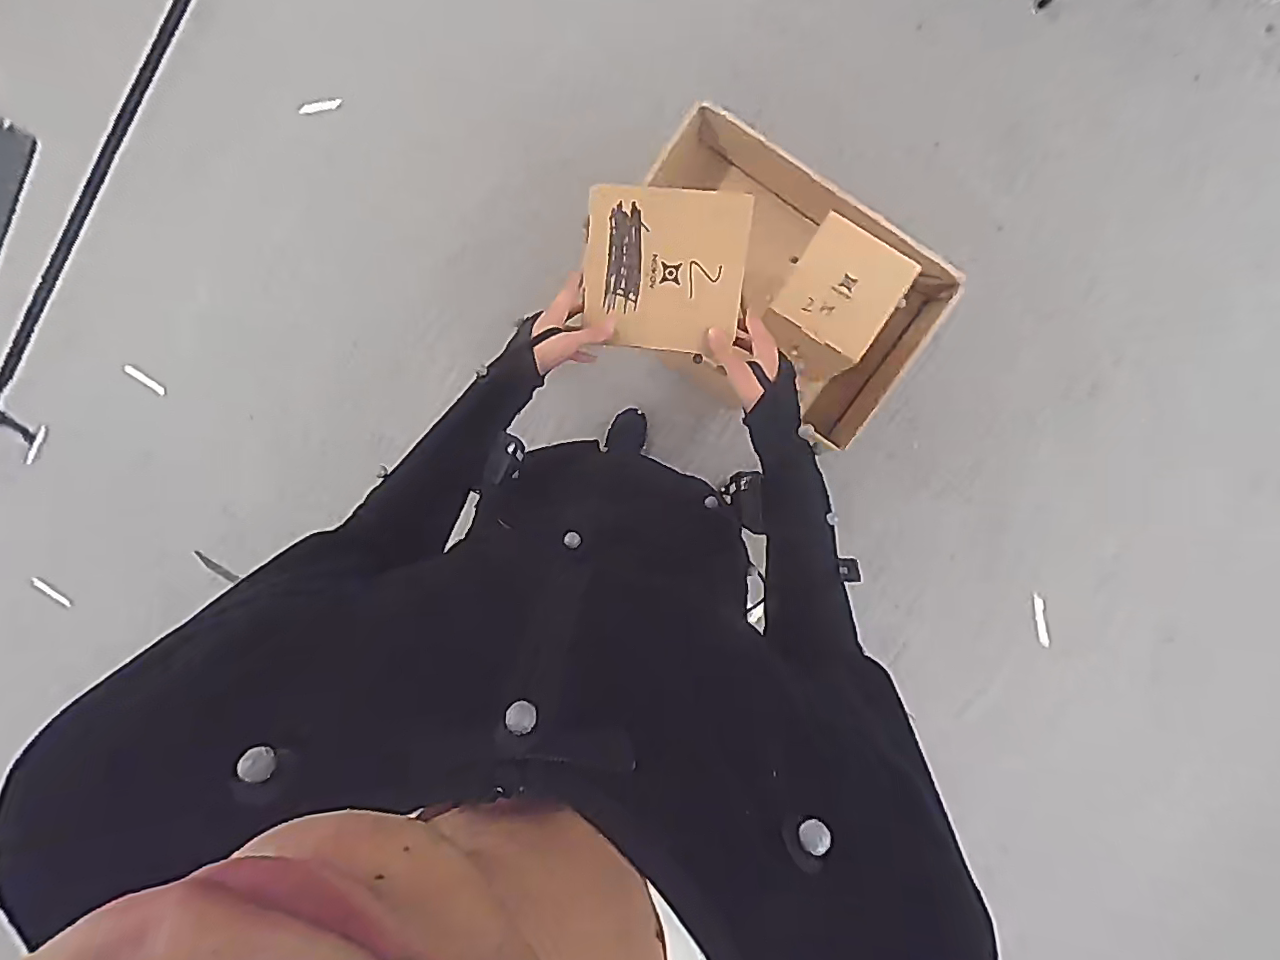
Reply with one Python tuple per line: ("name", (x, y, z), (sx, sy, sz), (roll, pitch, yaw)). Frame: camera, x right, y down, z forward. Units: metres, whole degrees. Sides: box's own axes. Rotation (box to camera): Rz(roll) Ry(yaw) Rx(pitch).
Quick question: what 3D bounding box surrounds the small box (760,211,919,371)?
("small box", (0.321, -0.306, 0.916), (0.168, 0.176, 0.179), (33, 97, 2))
